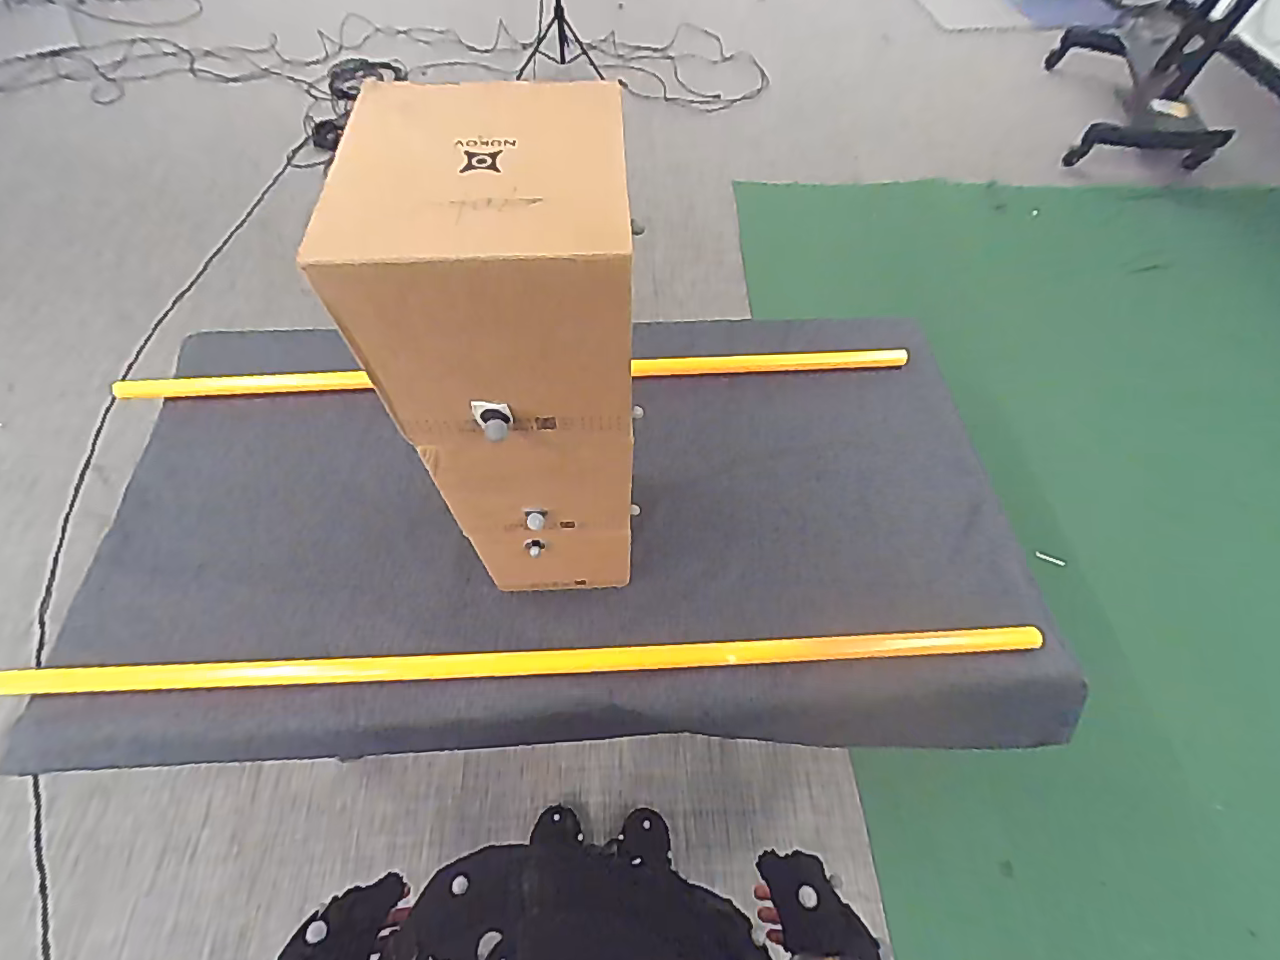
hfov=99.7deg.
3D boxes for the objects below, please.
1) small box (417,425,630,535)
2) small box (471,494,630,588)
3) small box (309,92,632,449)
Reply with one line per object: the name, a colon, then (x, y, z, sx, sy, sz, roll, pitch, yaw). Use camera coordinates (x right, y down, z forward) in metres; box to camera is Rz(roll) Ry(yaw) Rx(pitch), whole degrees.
small box: (-0.097, -0.062, 0.527, 0.168, 0.176, 0.179, -3, 60, -3)
small box: (-0.099, 0.021, 0.669, 0.168, 0.176, 0.179, -2, 59, -2)
small box: (-0.093, -0.141, 0.386, 0.168, 0.176, 0.179, -4, 61, -2)
